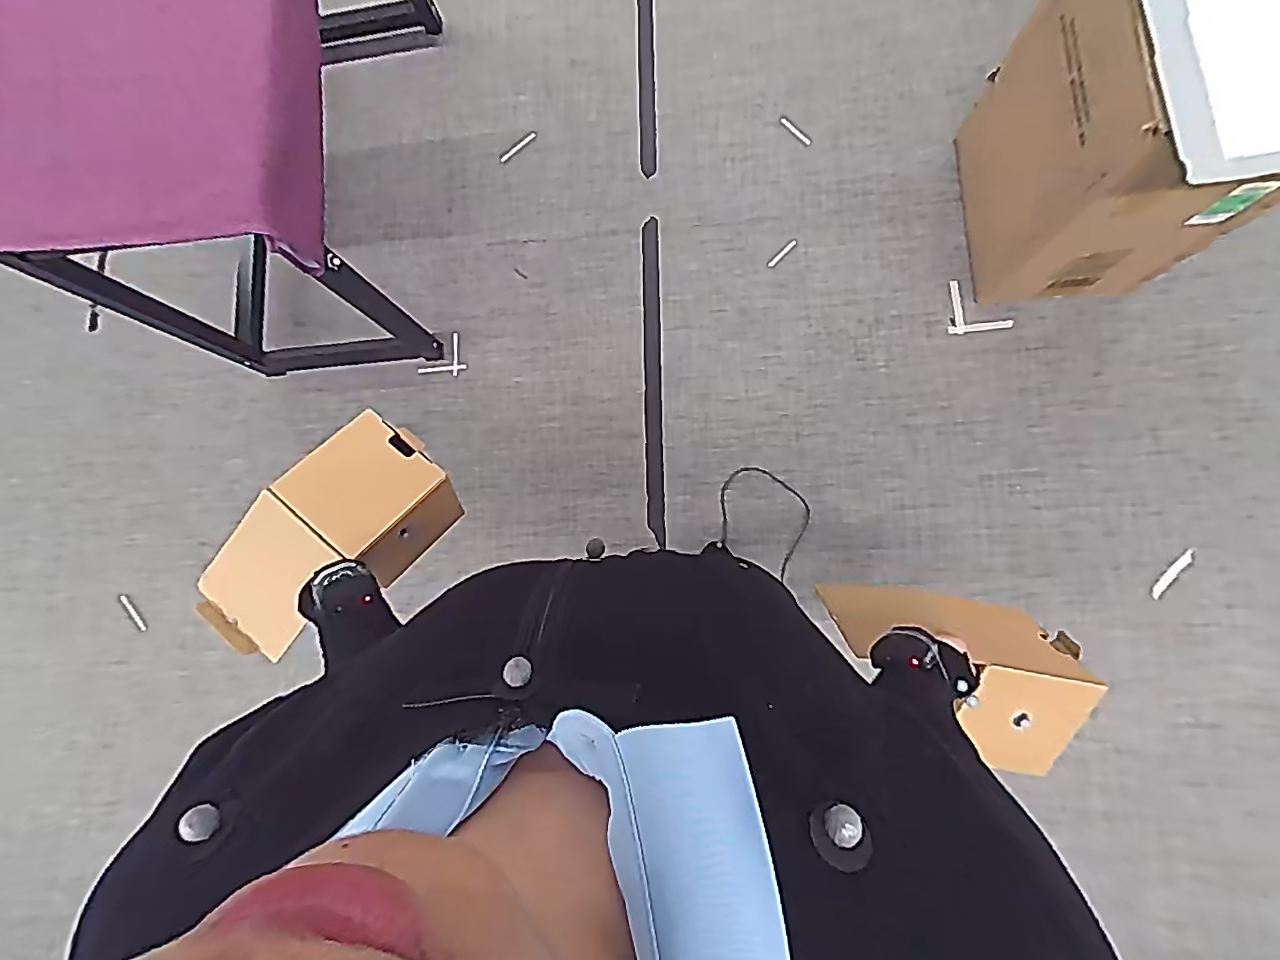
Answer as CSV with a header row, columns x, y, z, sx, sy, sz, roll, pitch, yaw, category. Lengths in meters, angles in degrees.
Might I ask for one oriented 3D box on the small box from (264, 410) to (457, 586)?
x,y,z,sx,sy,sz,roll,pitch,yaw,category
-0.403,0.036,0.819,0.168,0.176,0.179,39,66,8,small box
